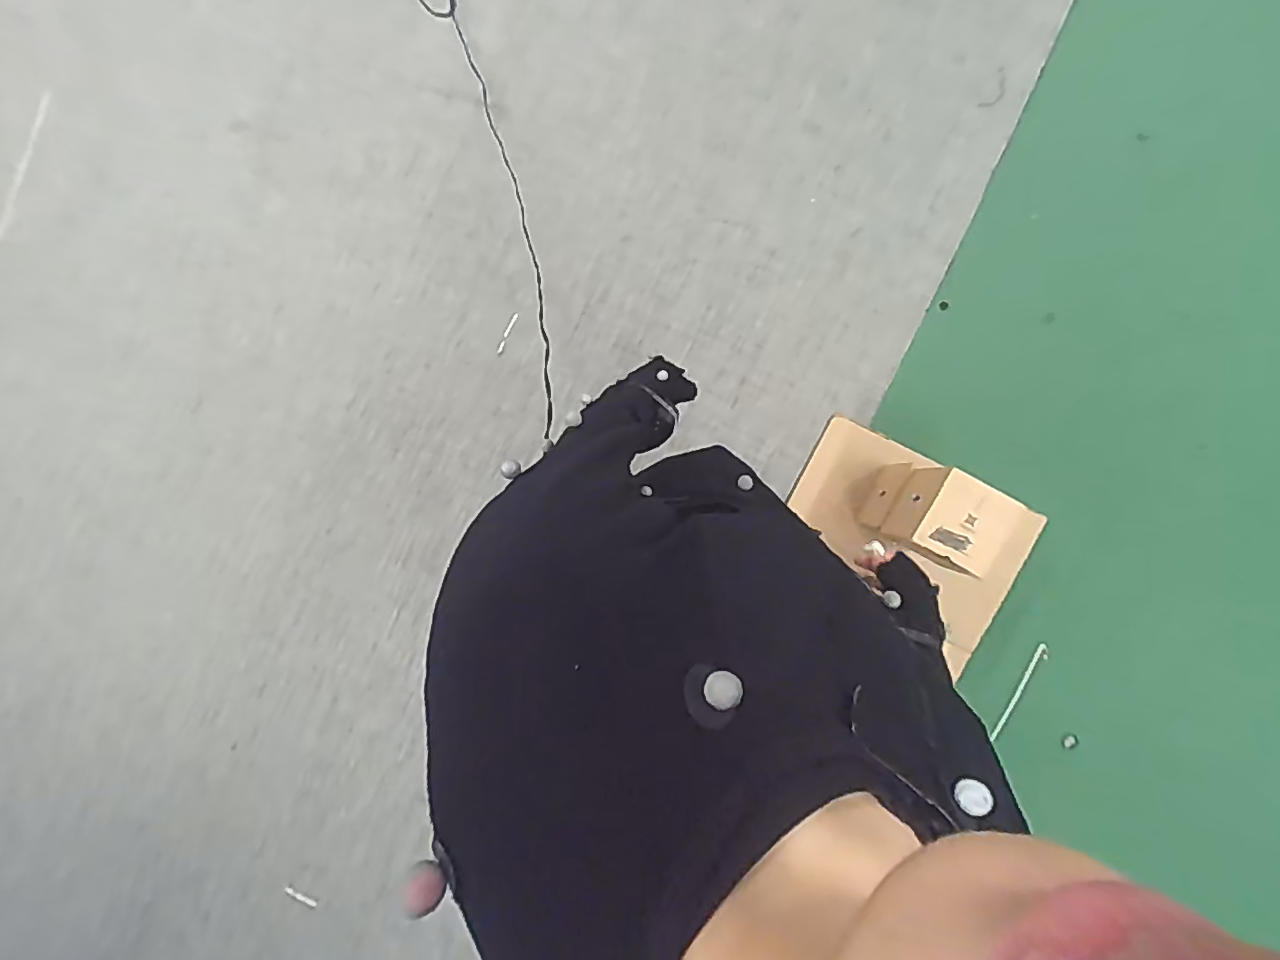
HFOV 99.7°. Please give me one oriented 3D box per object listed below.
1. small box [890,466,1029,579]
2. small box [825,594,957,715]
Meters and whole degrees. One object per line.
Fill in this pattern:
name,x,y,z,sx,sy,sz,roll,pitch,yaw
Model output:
small box,0.670,0.087,1.163,0.168,0.176,0.179,30,91,3
small box,0.537,0.370,1.182,0.179,0.176,0.168,27,92,3
